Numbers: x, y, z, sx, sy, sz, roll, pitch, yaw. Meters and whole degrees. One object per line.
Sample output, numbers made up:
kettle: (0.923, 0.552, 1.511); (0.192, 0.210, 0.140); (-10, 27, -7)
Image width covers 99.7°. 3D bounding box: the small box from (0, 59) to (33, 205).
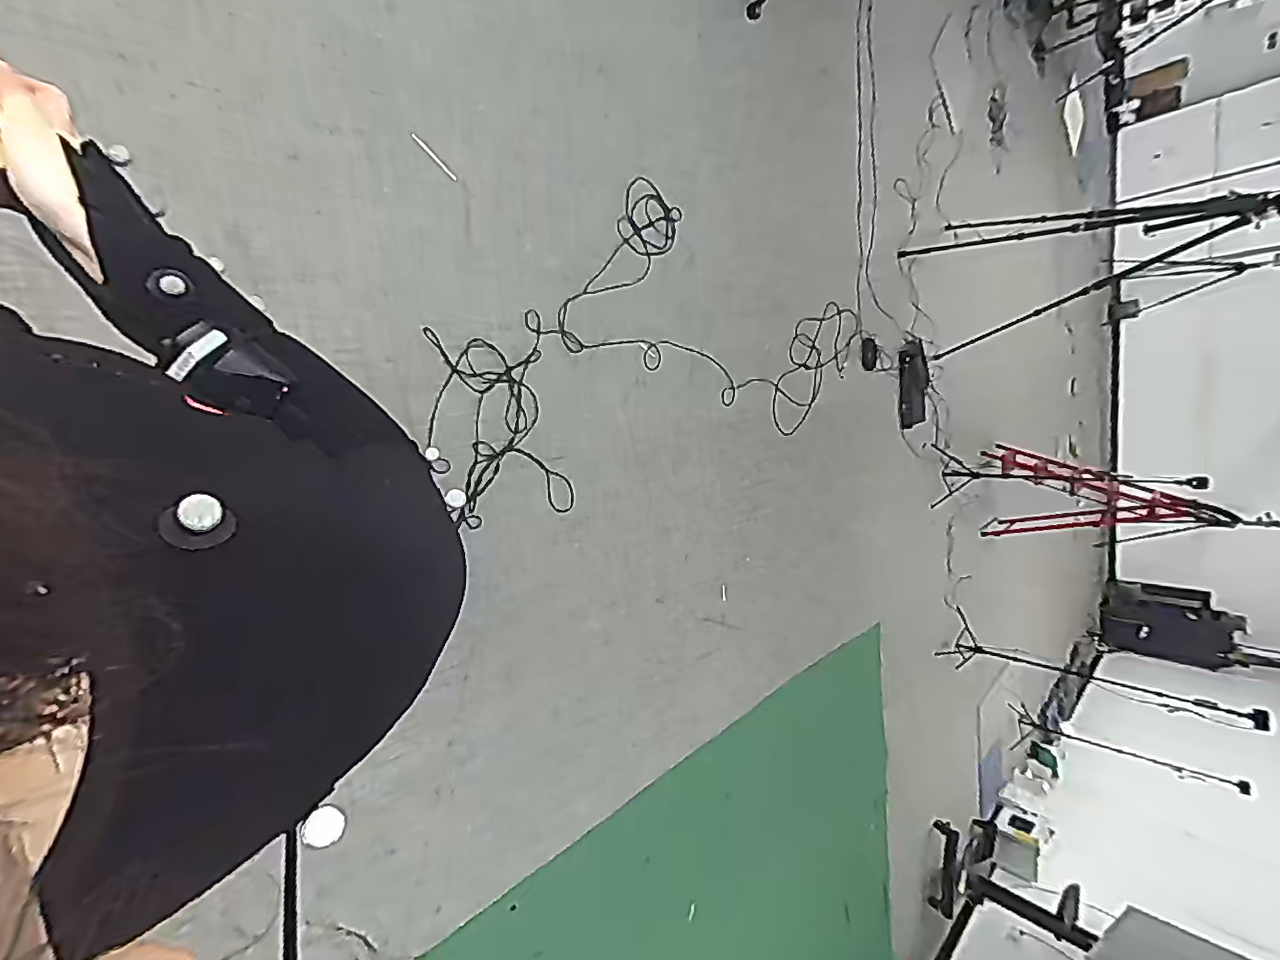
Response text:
small box: (-0.467, -0.258, 0.283); (0.168, 0.176, 0.179); (-14, 111, -41)
